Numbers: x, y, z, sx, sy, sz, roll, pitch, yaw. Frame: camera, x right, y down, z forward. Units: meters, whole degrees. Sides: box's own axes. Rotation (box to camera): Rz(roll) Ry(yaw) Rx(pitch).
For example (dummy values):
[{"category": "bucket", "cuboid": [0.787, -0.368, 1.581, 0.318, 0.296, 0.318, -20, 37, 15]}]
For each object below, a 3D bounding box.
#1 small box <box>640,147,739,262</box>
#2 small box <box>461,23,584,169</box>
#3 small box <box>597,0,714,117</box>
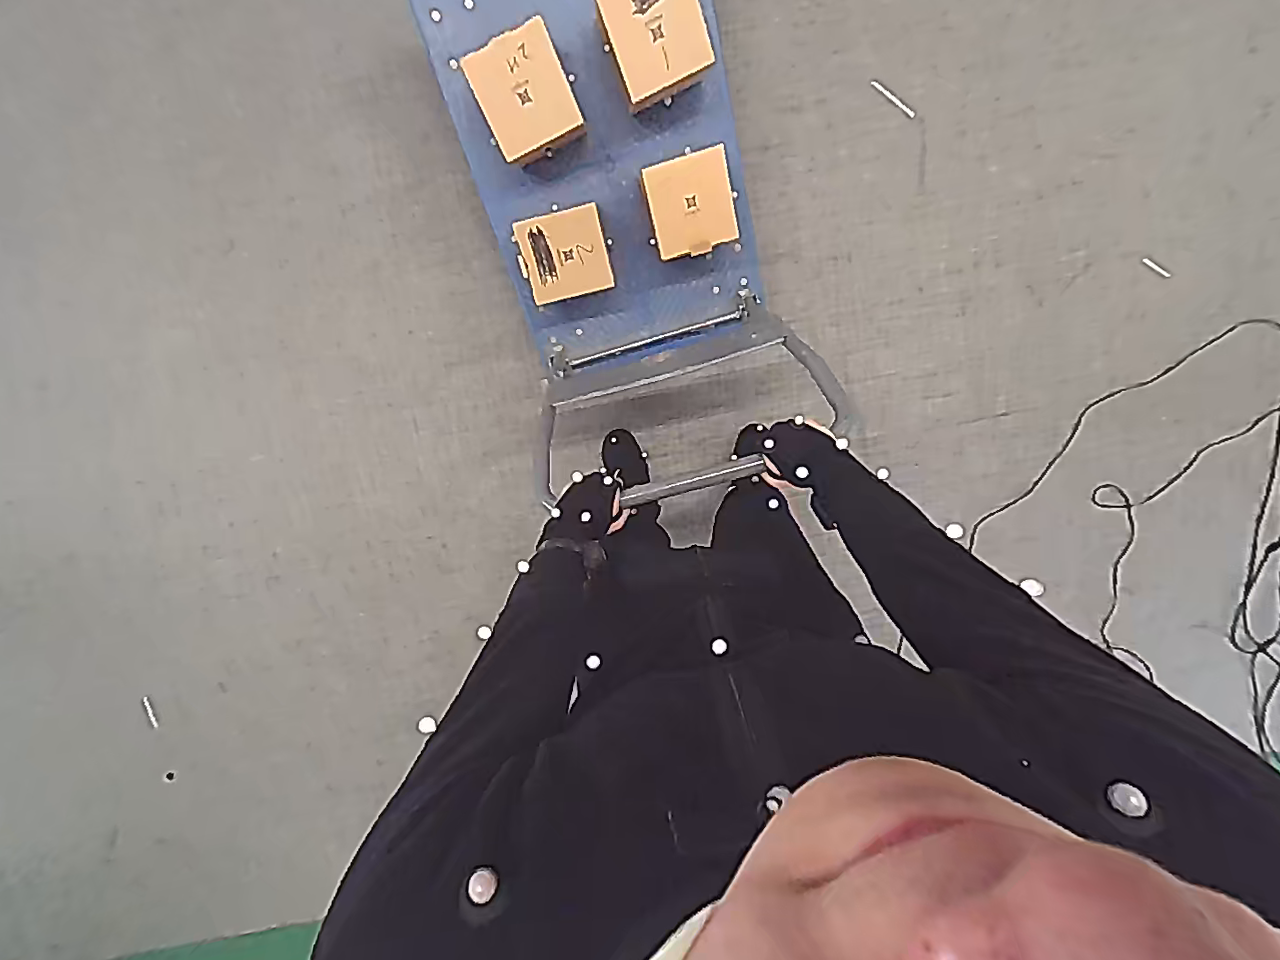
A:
[{"category": "small box", "cuboid": [0.101, -0.582, 1.154, 0.168, 0.176, 0.179, -15, 117, 5]}, {"category": "small box", "cuboid": [-0.217, -0.735, 1.059, 0.168, 0.176, 0.179, -23, 116, 7]}, {"category": "small box", "cuboid": [0.025, -0.826, 1.025, 0.168, 0.176, 0.179, -21, 117, 8]}]
